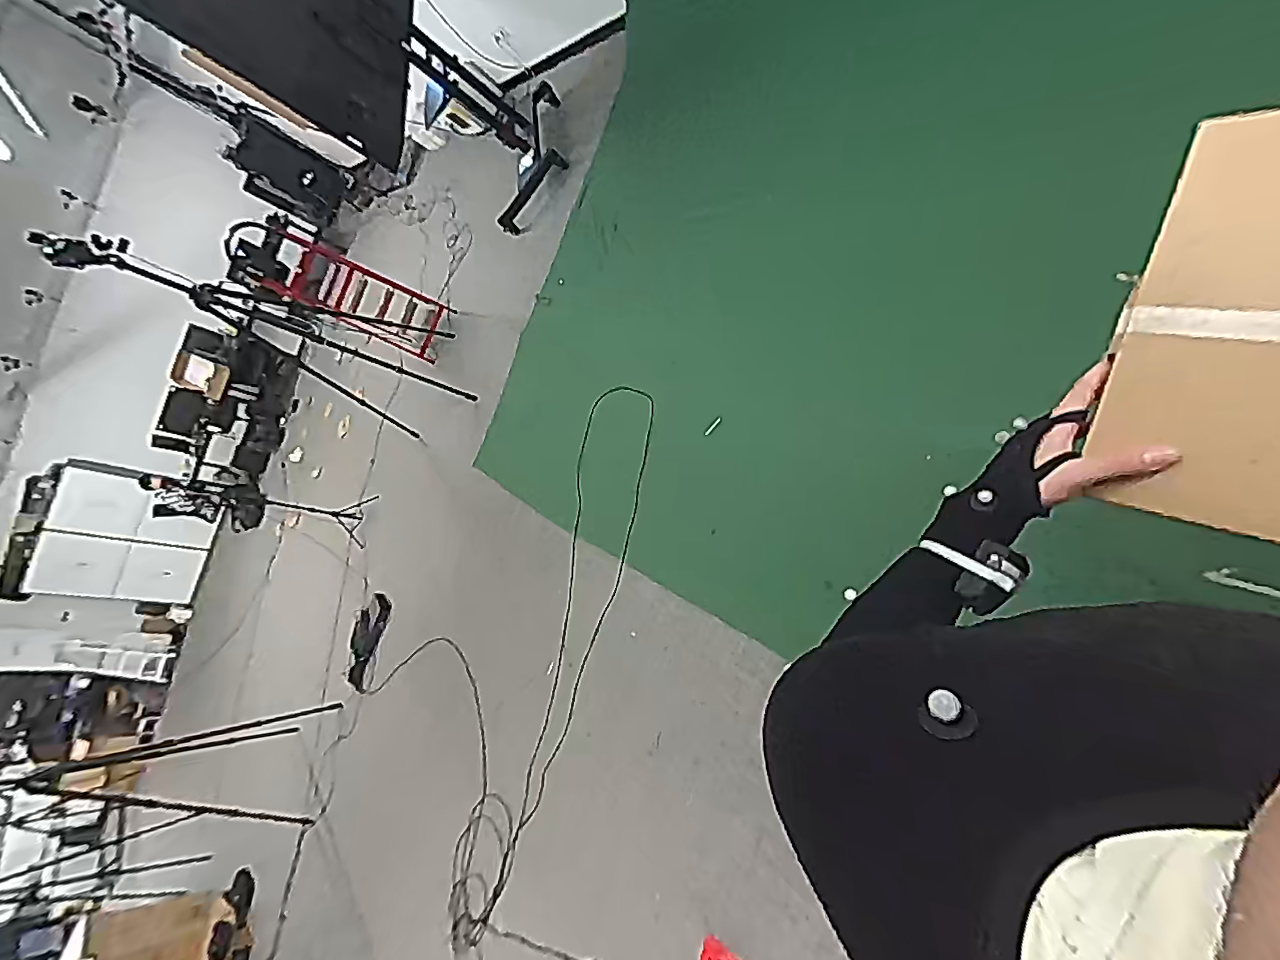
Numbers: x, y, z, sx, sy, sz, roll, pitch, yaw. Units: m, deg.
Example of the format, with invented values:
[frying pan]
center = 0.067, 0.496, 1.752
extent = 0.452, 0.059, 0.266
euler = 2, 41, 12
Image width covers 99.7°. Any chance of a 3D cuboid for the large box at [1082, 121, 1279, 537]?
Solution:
[large box]
center = 0.669, -0.085, 0.440
extent = 0.408, 0.320, 0.320
euler = 21, 105, 43
